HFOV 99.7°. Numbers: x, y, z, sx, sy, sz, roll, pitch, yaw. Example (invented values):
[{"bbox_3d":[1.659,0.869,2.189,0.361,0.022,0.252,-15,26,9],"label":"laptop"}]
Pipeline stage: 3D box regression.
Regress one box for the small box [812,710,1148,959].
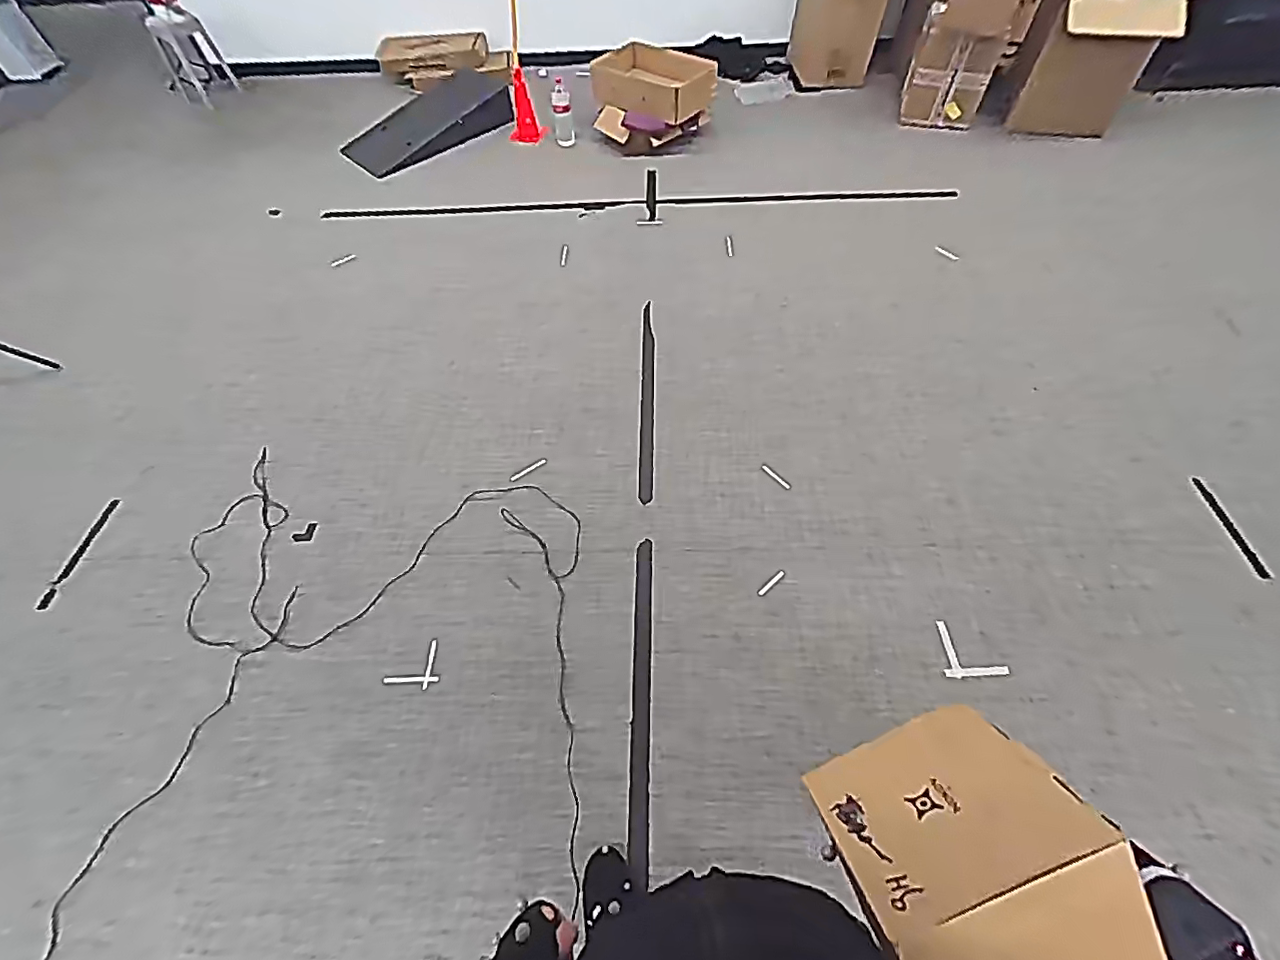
[{"bbox_3d":[0.283,0.346,0.467,0.179,0.168,0.176,-25,99,0],"label":"small box"}]
